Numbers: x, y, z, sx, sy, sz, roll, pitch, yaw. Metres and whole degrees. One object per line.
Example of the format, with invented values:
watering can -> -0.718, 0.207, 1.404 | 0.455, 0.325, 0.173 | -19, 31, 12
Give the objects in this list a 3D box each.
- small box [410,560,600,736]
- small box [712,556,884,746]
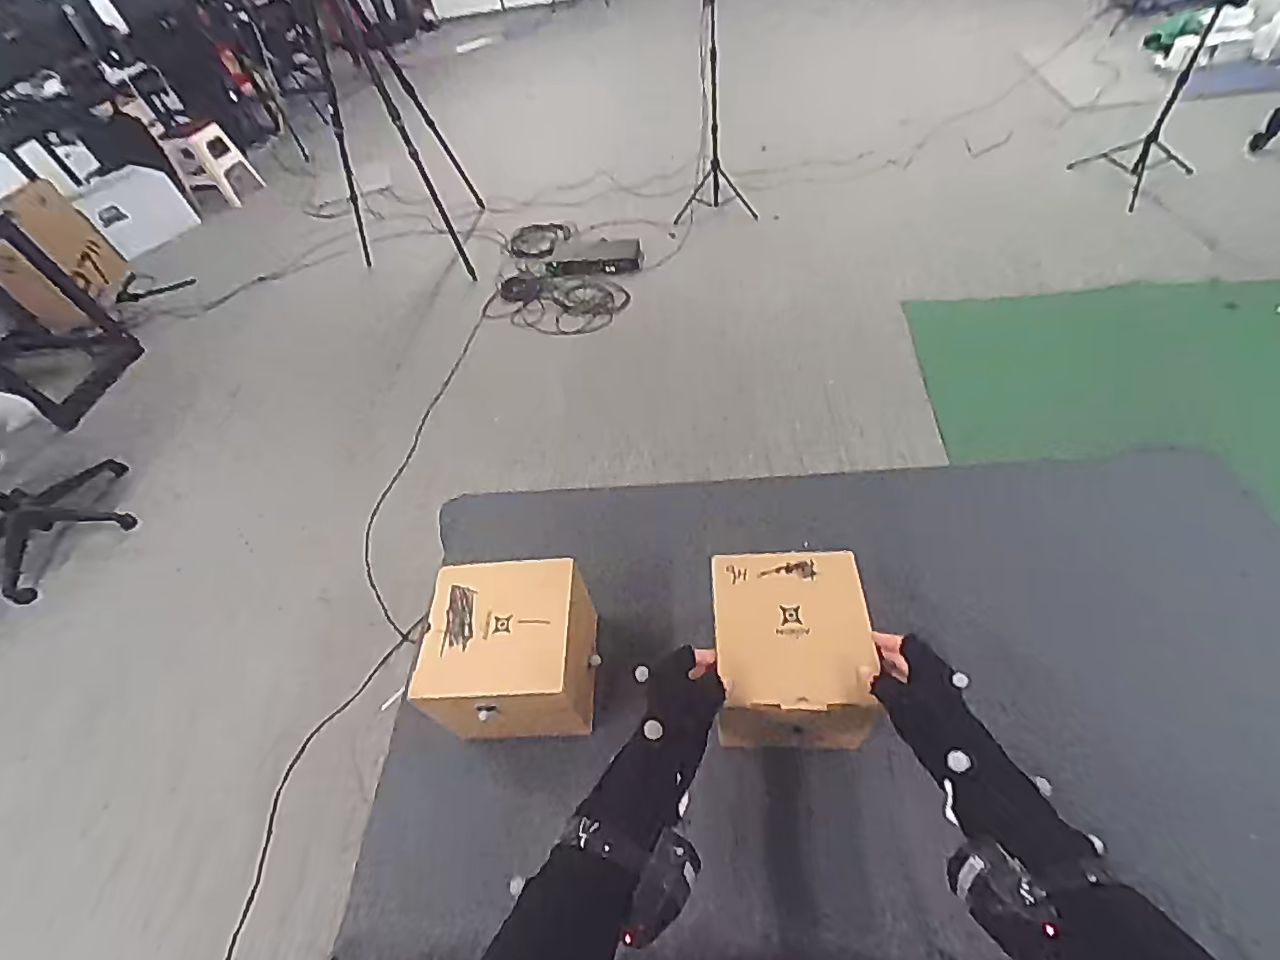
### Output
small box -> -0.155, 0.219, 0.689 | 0.179, 0.176, 0.168 | -4, 51, 5
small box -> 0.174, 0.209, 0.647 | 0.168, 0.176, 0.179 | -3, 52, 7
